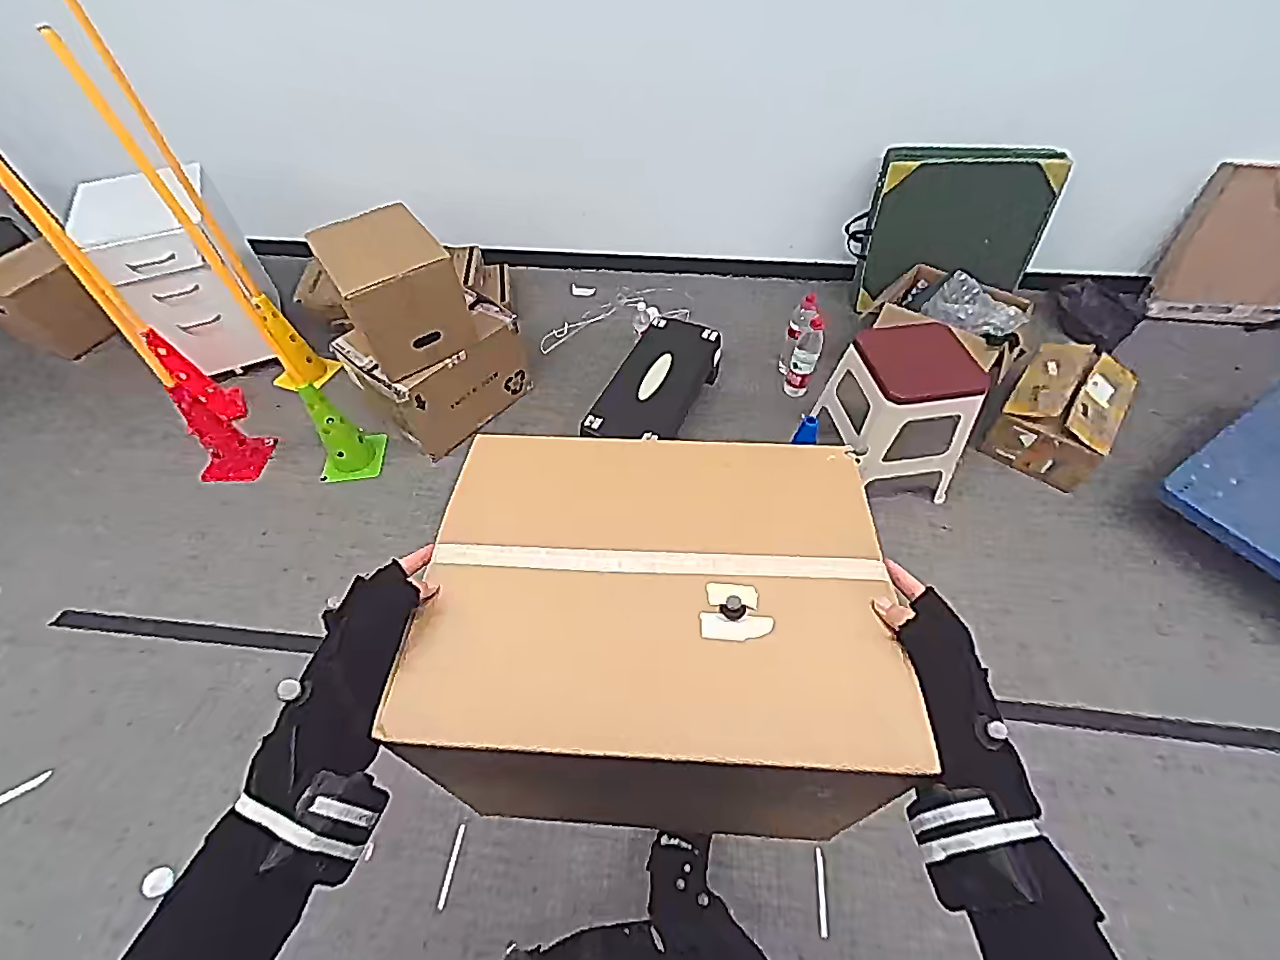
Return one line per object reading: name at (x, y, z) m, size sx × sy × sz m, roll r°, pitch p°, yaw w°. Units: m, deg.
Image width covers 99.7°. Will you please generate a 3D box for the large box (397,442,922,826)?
large box at (0.018, 0.175, 0.610) m, size 0.408 × 0.320 × 0.320 m, roll 2°, pitch 49°, yaw 3°
